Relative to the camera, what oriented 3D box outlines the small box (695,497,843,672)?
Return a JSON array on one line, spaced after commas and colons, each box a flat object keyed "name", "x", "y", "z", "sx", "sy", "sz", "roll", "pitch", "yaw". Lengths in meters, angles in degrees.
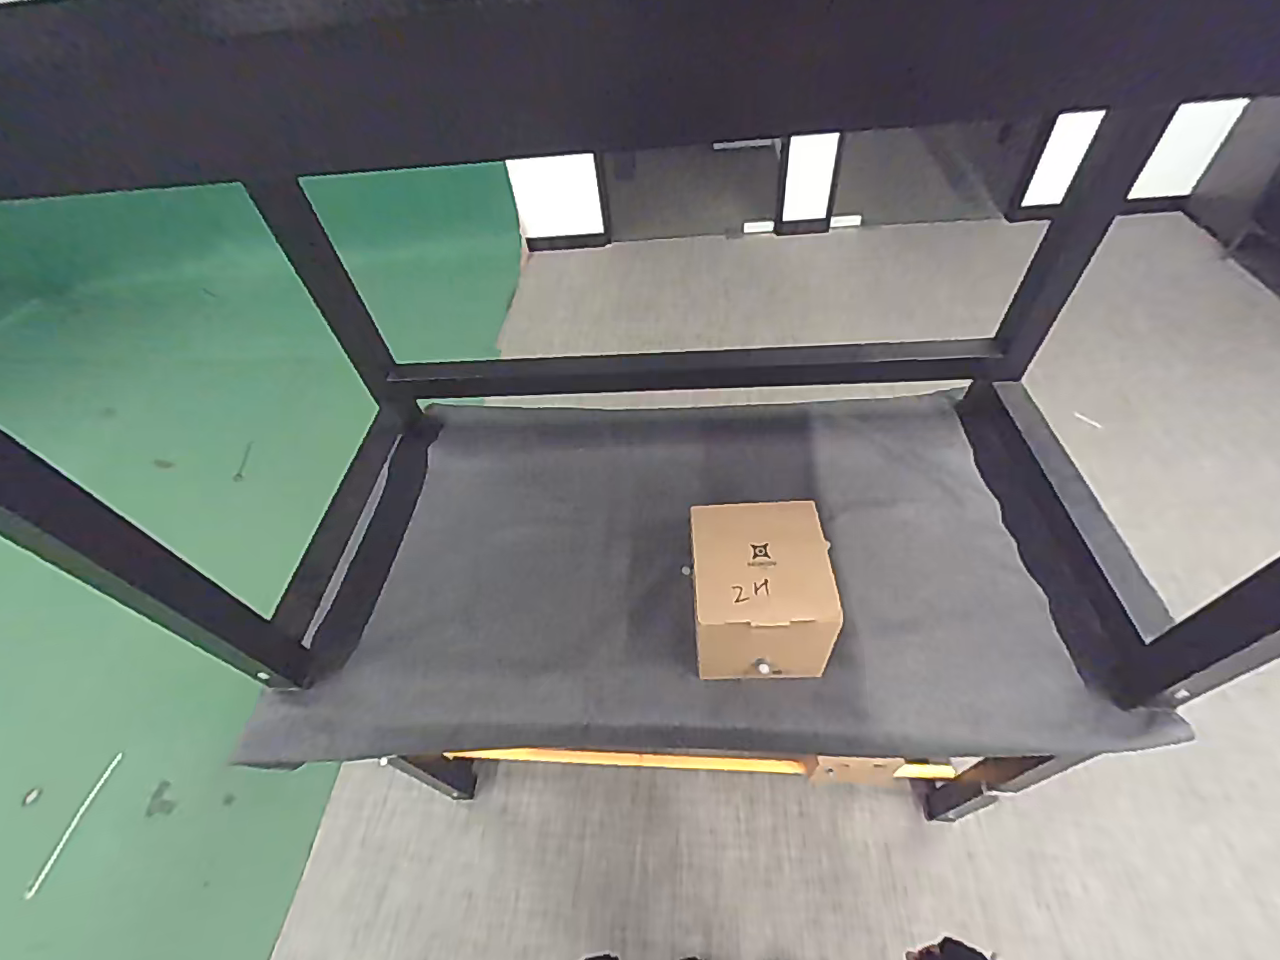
[{"name": "small box", "x": 0.160, "y": 0.144, "z": 0.737, "sx": 0.168, "sy": 0.176, "sz": 0.179, "roll": -3, "pitch": 49, "yaw": 5}]
